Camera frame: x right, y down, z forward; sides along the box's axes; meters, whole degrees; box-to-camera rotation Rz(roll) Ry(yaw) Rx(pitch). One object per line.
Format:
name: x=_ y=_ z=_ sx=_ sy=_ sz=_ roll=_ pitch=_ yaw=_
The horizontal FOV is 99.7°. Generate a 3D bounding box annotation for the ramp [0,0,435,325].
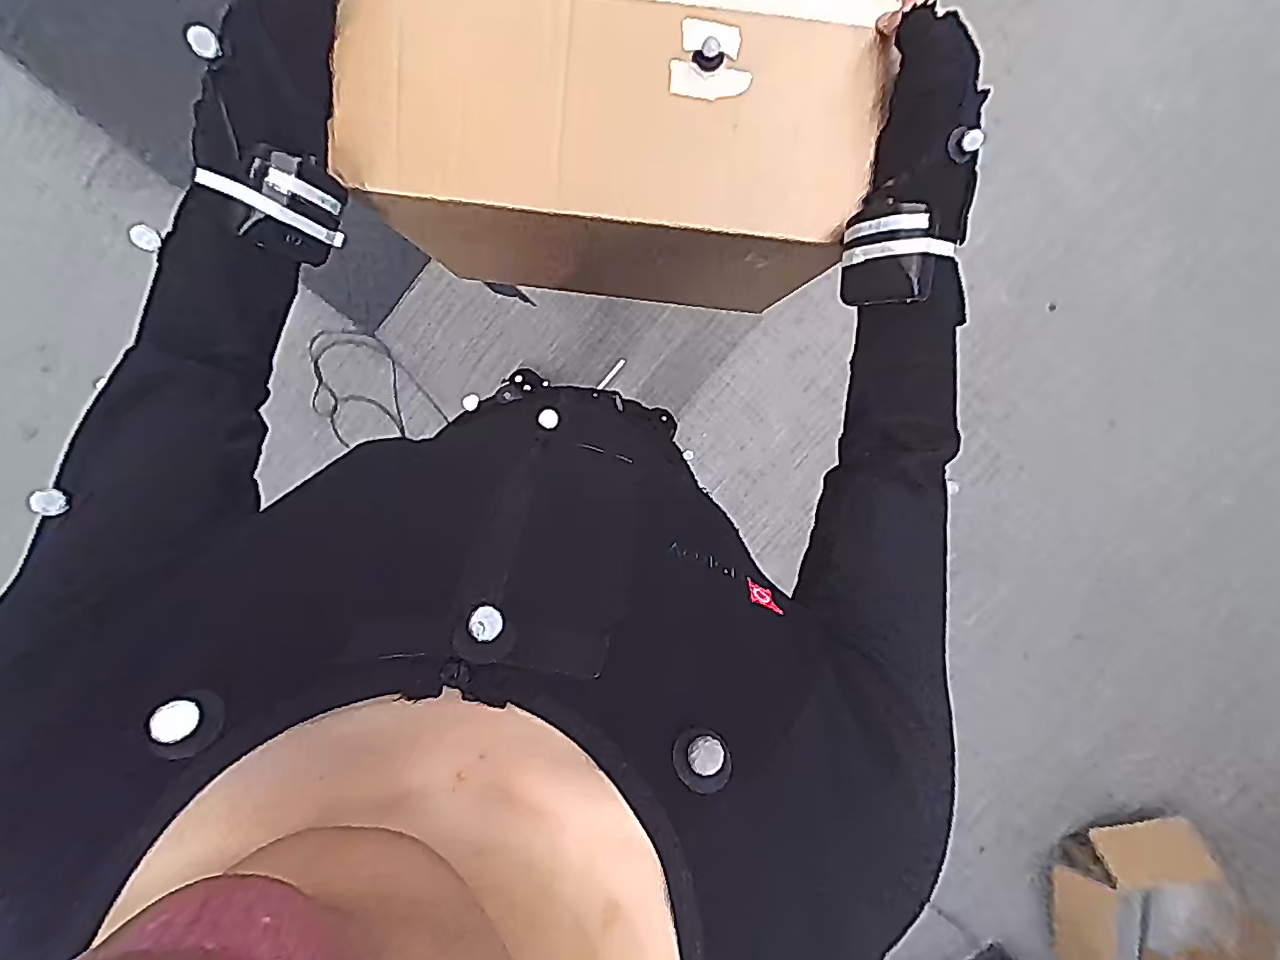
ramp: x=-0.894 y=-0.877 z=1.230 sx=0.991 sy=0.206 sz=0.509 roll=39 pitch=97 yaw=-8

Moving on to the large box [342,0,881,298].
large box: x=-0.024 y=-0.383 z=0.545 sx=0.408 sy=0.320 sz=0.320 roll=4 pitch=98 yaw=-3
